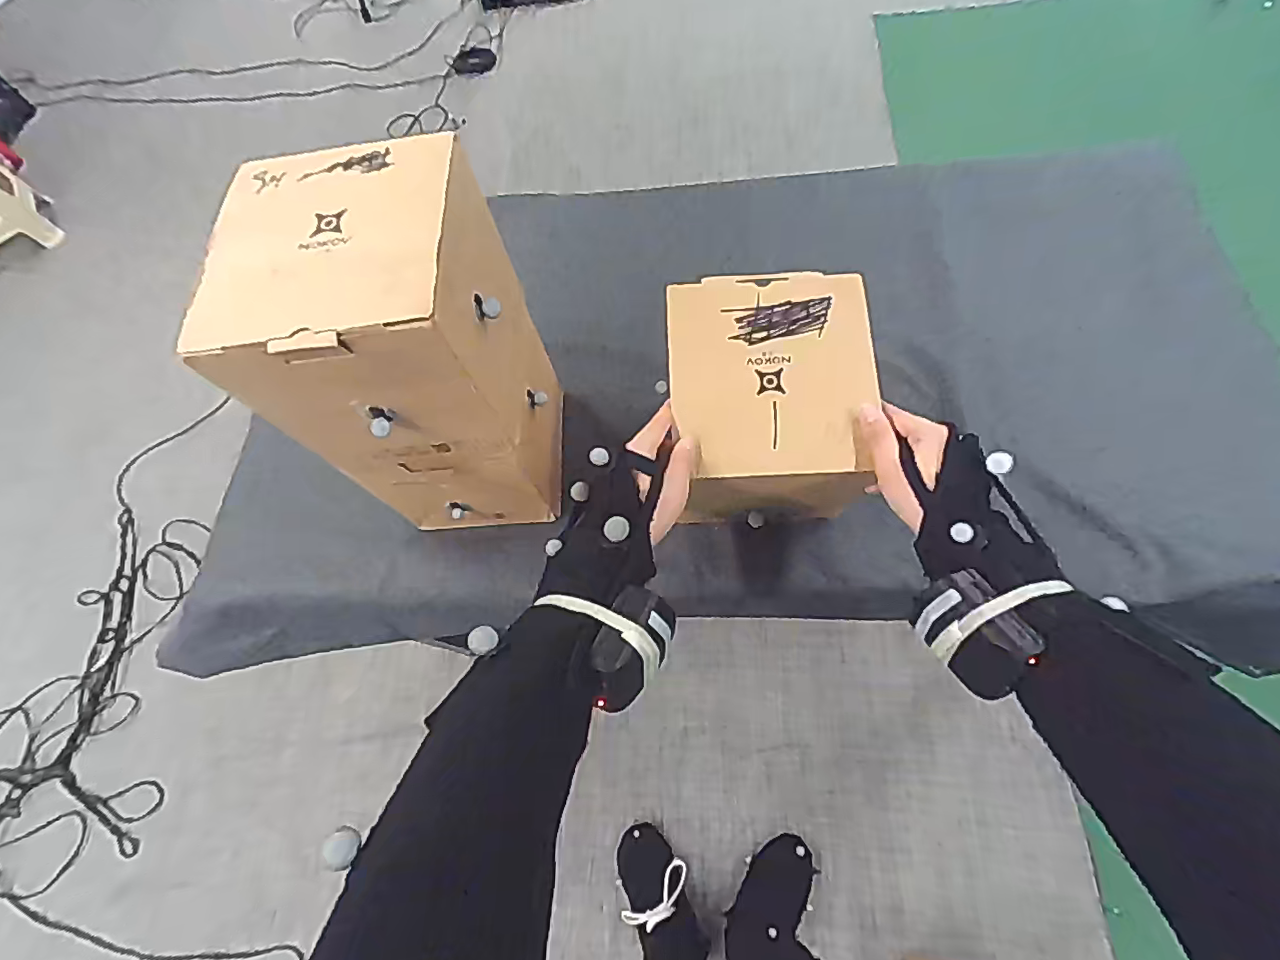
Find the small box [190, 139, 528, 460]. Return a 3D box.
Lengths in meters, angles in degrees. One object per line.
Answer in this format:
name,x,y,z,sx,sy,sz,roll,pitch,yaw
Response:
small box,-0.194,-0.125,0.433,0.168,0.176,0.179,-6,66,4

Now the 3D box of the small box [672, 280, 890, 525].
small box,0.115,-0.062,0.516,0.168,0.176,0.179,-3,73,5

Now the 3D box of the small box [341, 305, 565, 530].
small box,-0.180,-0.059,0.582,0.168,0.176,0.179,-5,65,5
